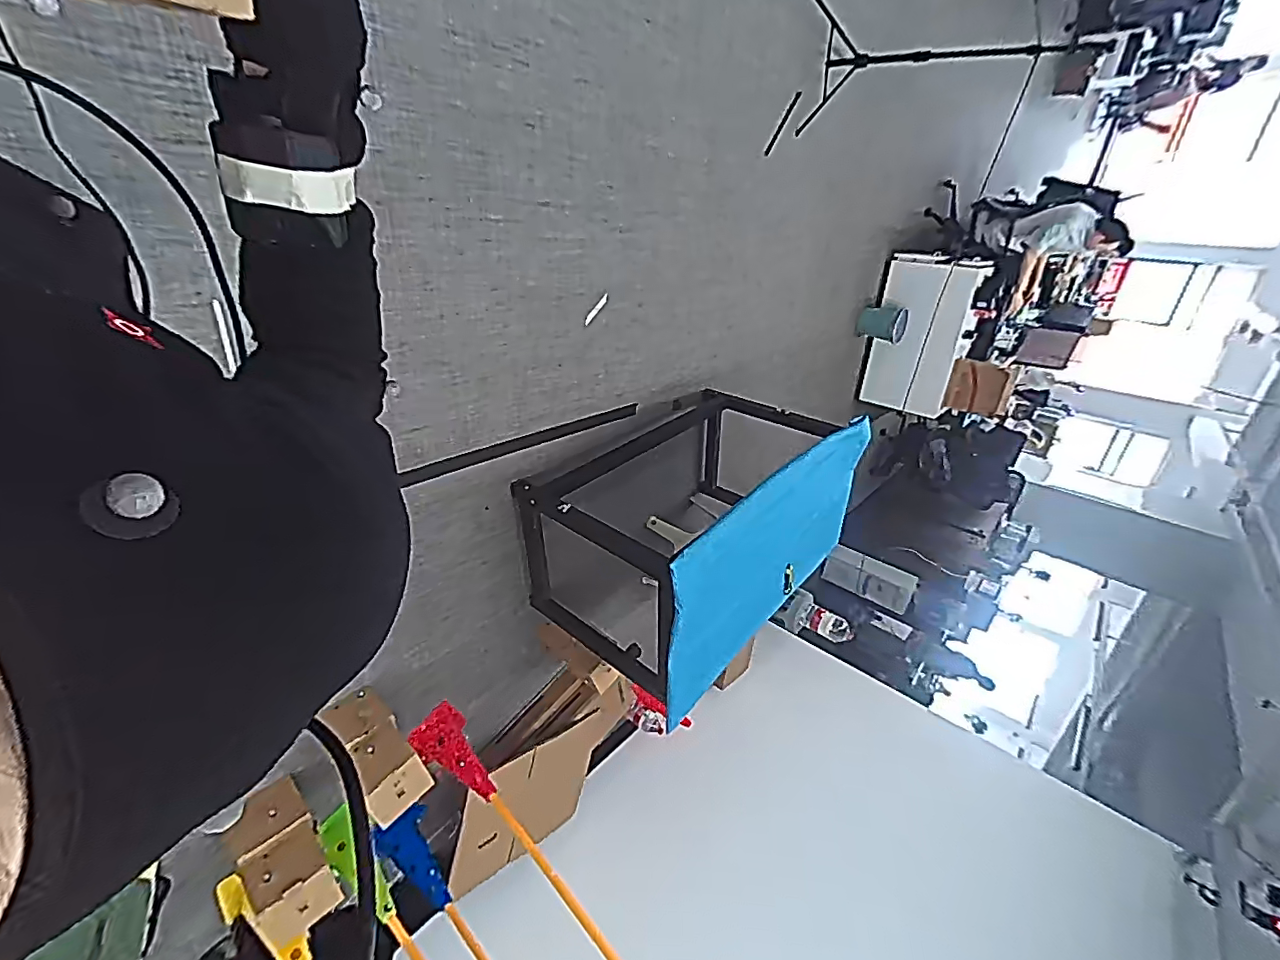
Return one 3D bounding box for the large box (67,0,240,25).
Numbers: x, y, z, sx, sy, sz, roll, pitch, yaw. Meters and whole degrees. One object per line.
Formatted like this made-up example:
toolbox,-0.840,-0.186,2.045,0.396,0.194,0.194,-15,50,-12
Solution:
large box,-0.412,-0.366,0.131,0.408,0.320,0.320,-24,137,-44
